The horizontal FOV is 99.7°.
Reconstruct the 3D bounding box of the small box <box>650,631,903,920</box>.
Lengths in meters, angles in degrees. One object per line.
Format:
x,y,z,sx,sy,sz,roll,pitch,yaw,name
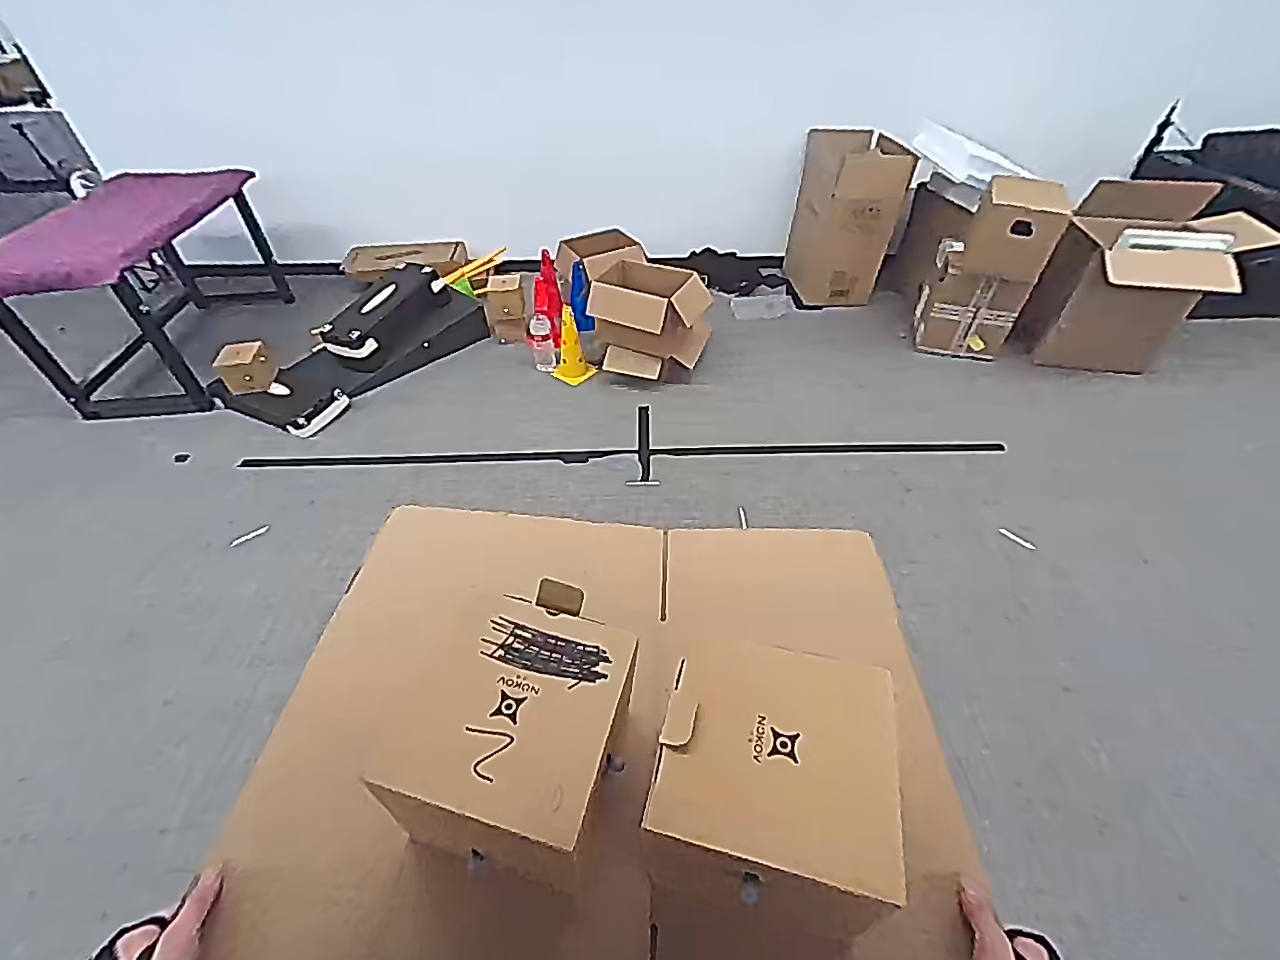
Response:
0.118,0.264,0.485,0.179,0.176,0.168,7,45,14,small box
